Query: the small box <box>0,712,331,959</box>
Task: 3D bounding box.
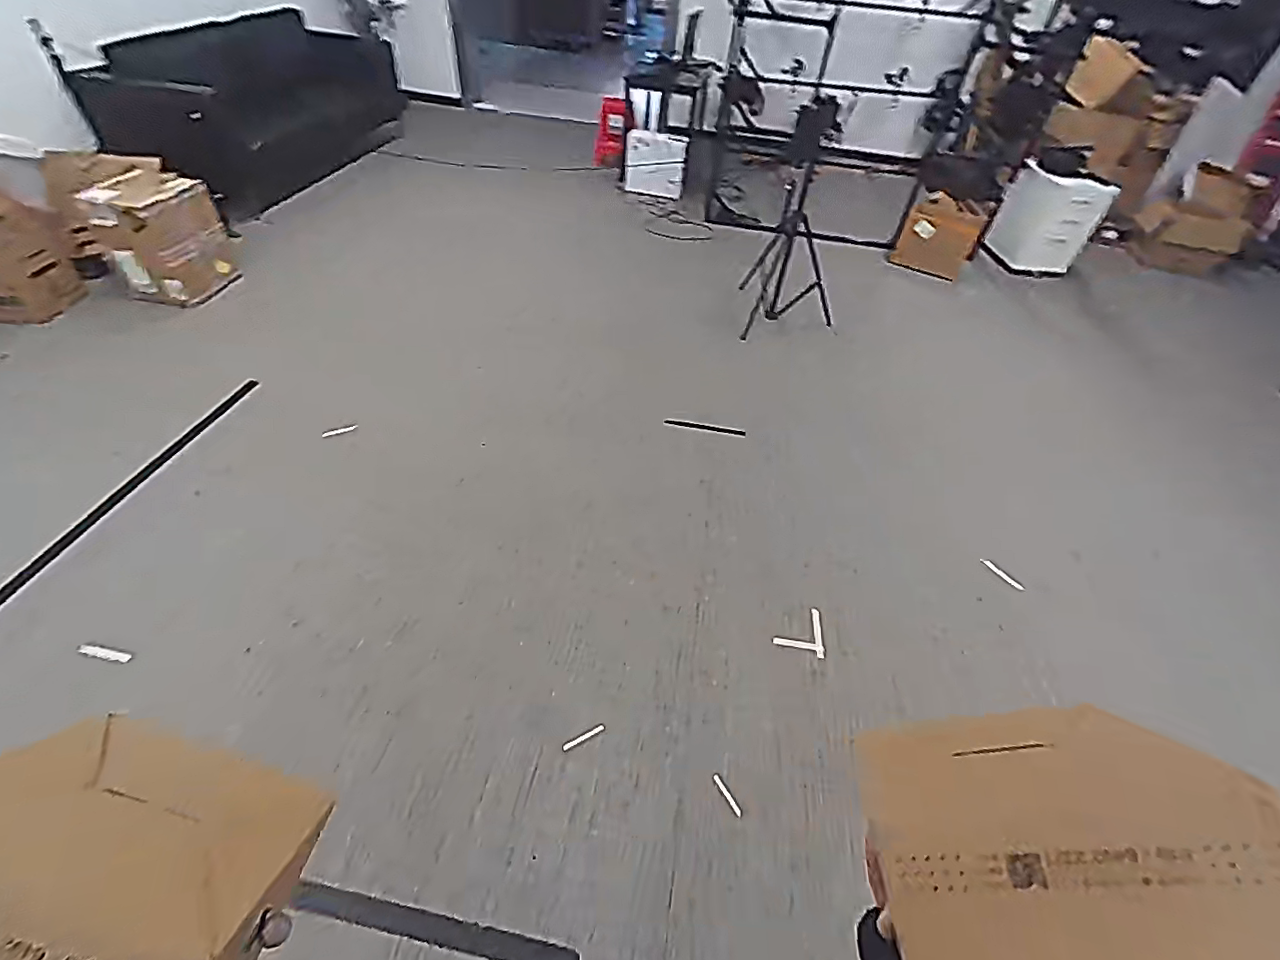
[{"bbox_3d":[-0.301,0.242,0.277,0.168,0.179,0.176,27,75,-7],"label":"small box"}]
